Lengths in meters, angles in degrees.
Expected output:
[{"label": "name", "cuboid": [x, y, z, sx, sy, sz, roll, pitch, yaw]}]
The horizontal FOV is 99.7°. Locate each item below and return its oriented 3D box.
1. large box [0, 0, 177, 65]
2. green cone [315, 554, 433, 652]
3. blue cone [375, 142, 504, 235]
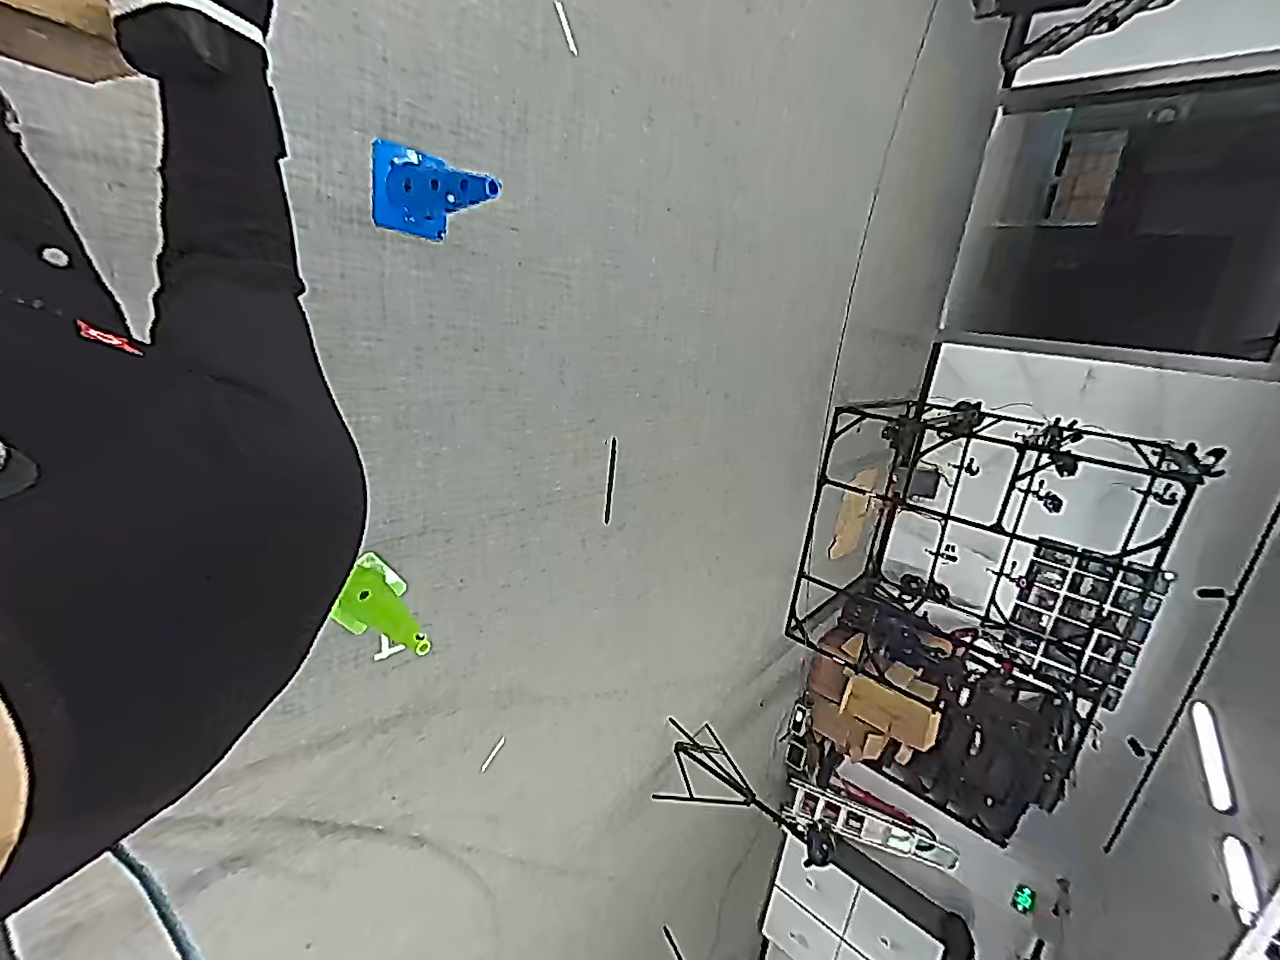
[{"label": "large box", "cuboid": [-0.536, -0.476, 0.263, 0.408, 0.320, 0.320, -12, 121, -52]}, {"label": "green cone", "cuboid": [-0.694, 0.386, 1.502, 0.202, 0.368, 0.200, -51, 140, -26]}, {"label": "blue cone", "cuboid": [-0.467, -0.705, 1.308, 0.192, 0.380, 0.193, -8, 113, -51]}]
